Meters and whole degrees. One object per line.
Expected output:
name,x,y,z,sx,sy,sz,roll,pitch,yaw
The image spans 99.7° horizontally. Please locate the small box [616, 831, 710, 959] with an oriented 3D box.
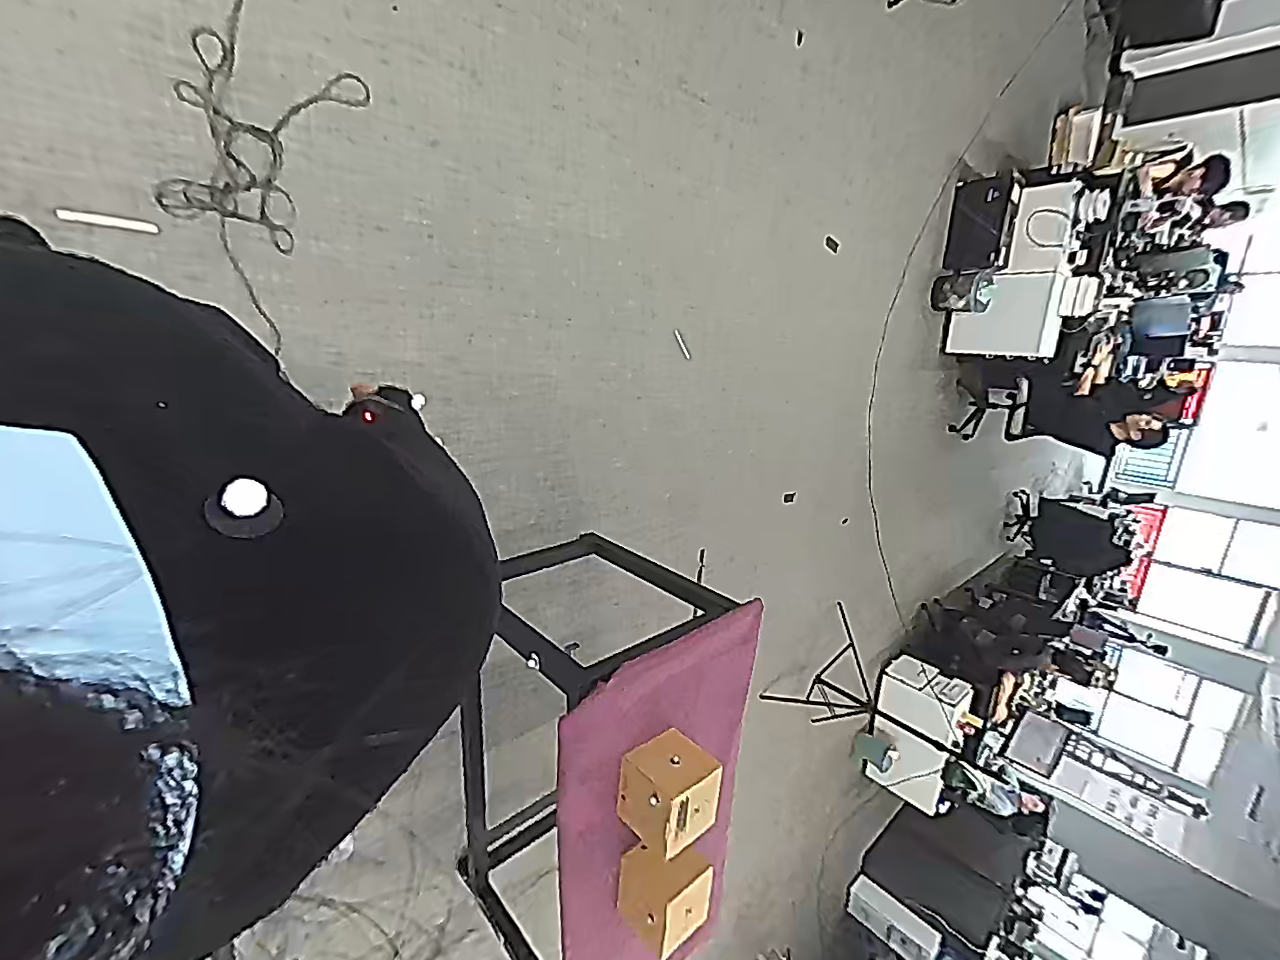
small box,0.055,1.034,1.366,0.168,0.176,0.179,-7,107,-42
